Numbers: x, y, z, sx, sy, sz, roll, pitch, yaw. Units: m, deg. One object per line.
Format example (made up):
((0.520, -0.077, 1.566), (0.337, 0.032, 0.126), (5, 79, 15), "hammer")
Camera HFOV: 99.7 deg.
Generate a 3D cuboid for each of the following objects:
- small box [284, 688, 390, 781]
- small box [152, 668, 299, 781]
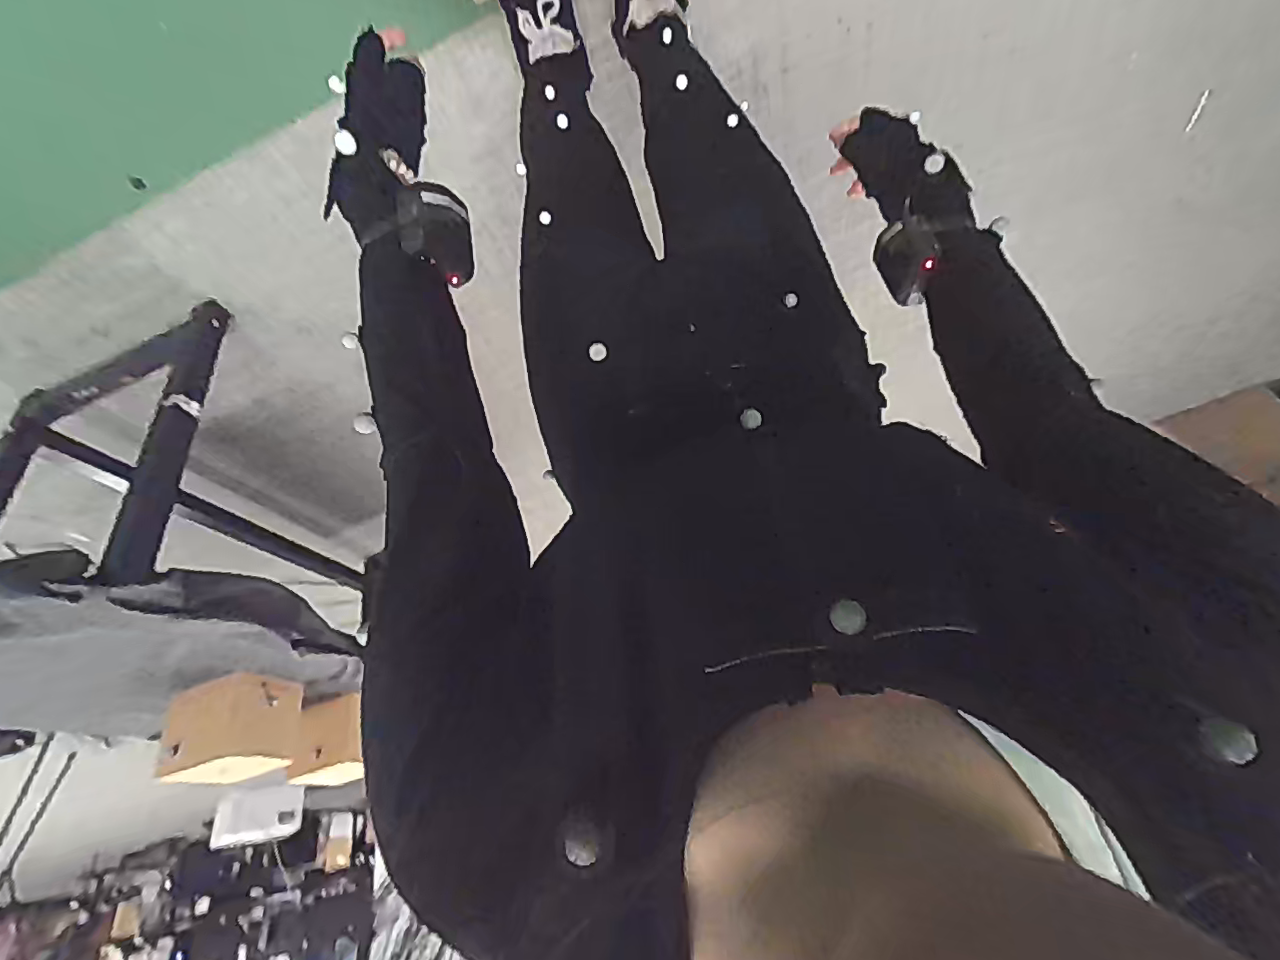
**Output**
((-0.763, 0.653, 1.384), (0.179, 0.176, 0.168), (-21, 146, 7), "small box")
((-0.855, 0.515, 1.136), (0.179, 0.176, 0.168), (-21, 147, 7), "small box")
